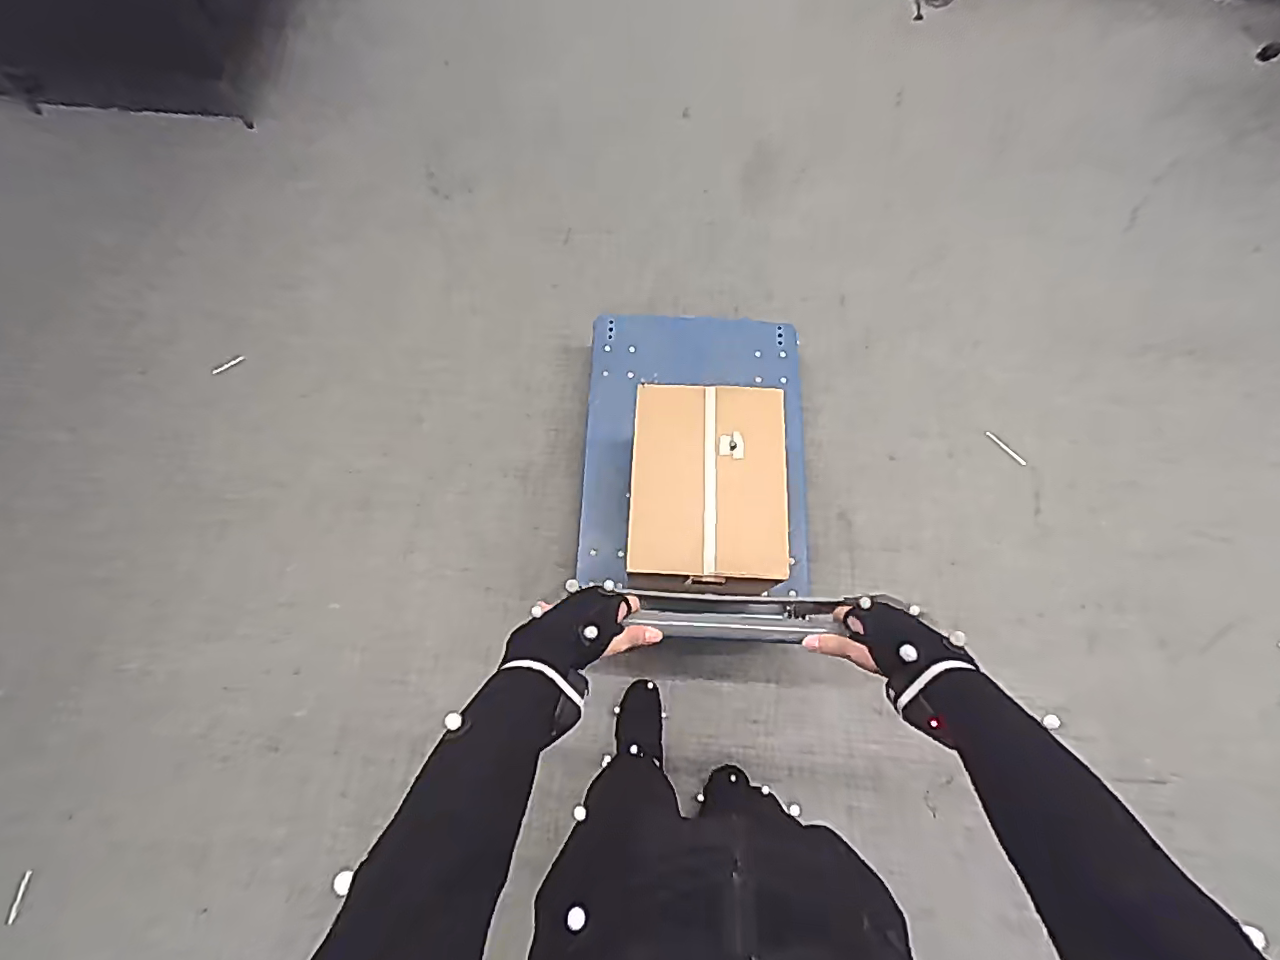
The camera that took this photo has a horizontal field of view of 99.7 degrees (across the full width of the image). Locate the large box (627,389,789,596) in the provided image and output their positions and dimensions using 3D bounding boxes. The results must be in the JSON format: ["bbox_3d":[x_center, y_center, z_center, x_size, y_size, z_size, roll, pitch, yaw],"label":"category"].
[{"bbox_3d":[0.139,0.045,1.230,0.320,0.320,0.408,2,71,1],"label":"large box"}]
